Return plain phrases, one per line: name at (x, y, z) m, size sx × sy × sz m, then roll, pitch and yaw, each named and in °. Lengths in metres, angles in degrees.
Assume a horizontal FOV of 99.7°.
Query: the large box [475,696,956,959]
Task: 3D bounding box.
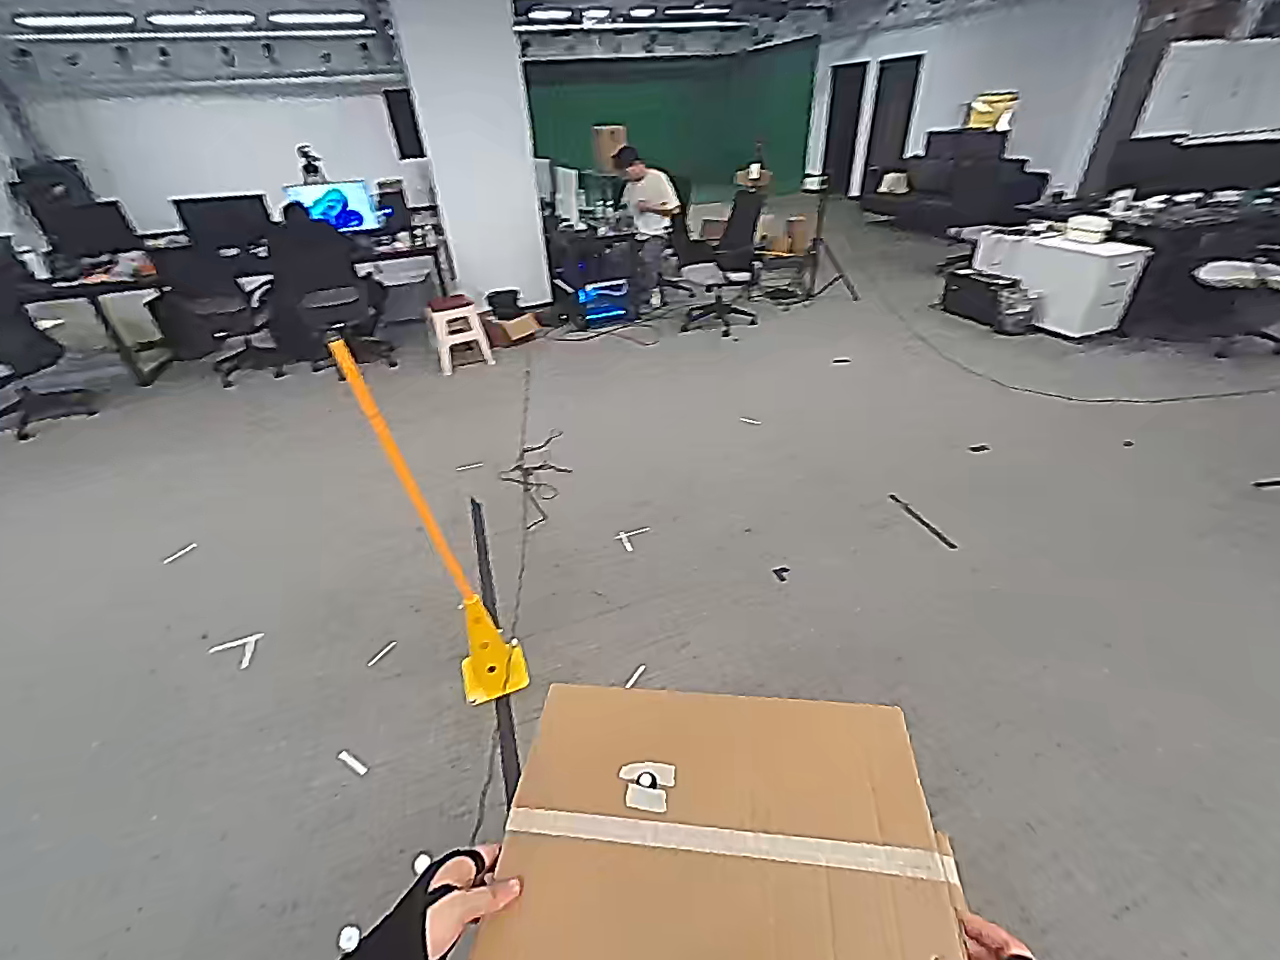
large box at (0.085, 0.468, 0.600) m, size 0.408 × 0.320 × 0.320 m, roll -3°, pitch 34°, yaw 11°
